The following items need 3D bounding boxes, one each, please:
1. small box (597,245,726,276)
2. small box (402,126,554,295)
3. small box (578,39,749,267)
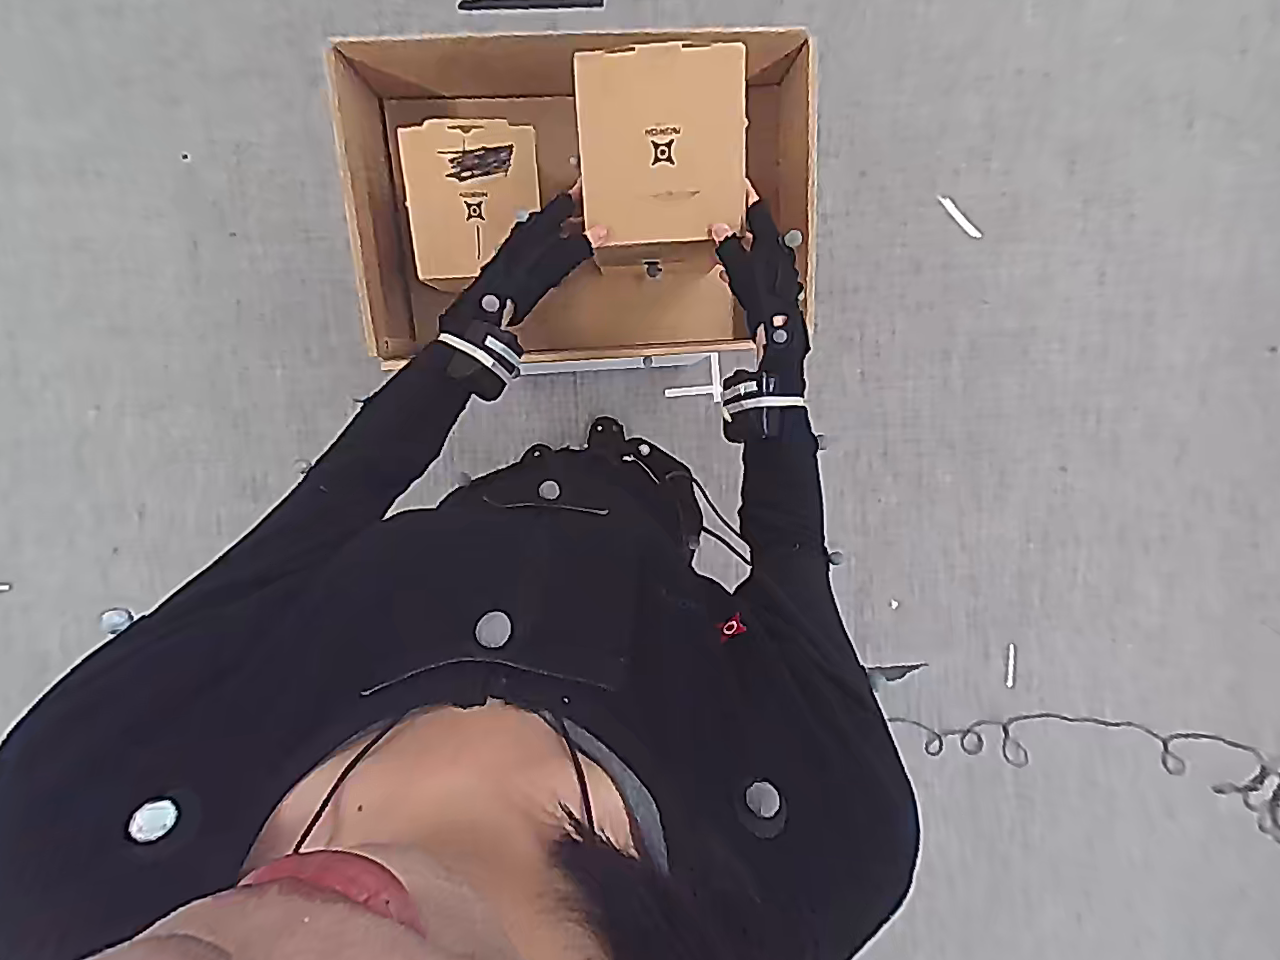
[{"bbox_3d":[0.026,-0.391,0.766,0.179,0.176,0.168,-3,102,0],"label":"small box"},{"bbox_3d":[-0.211,-0.362,0.754,0.168,0.176,0.179,-4,103,-4],"label":"small box"},{"bbox_3d":[0.026,-0.348,0.609,0.168,0.176,0.179,-3,104,2],"label":"small box"}]
